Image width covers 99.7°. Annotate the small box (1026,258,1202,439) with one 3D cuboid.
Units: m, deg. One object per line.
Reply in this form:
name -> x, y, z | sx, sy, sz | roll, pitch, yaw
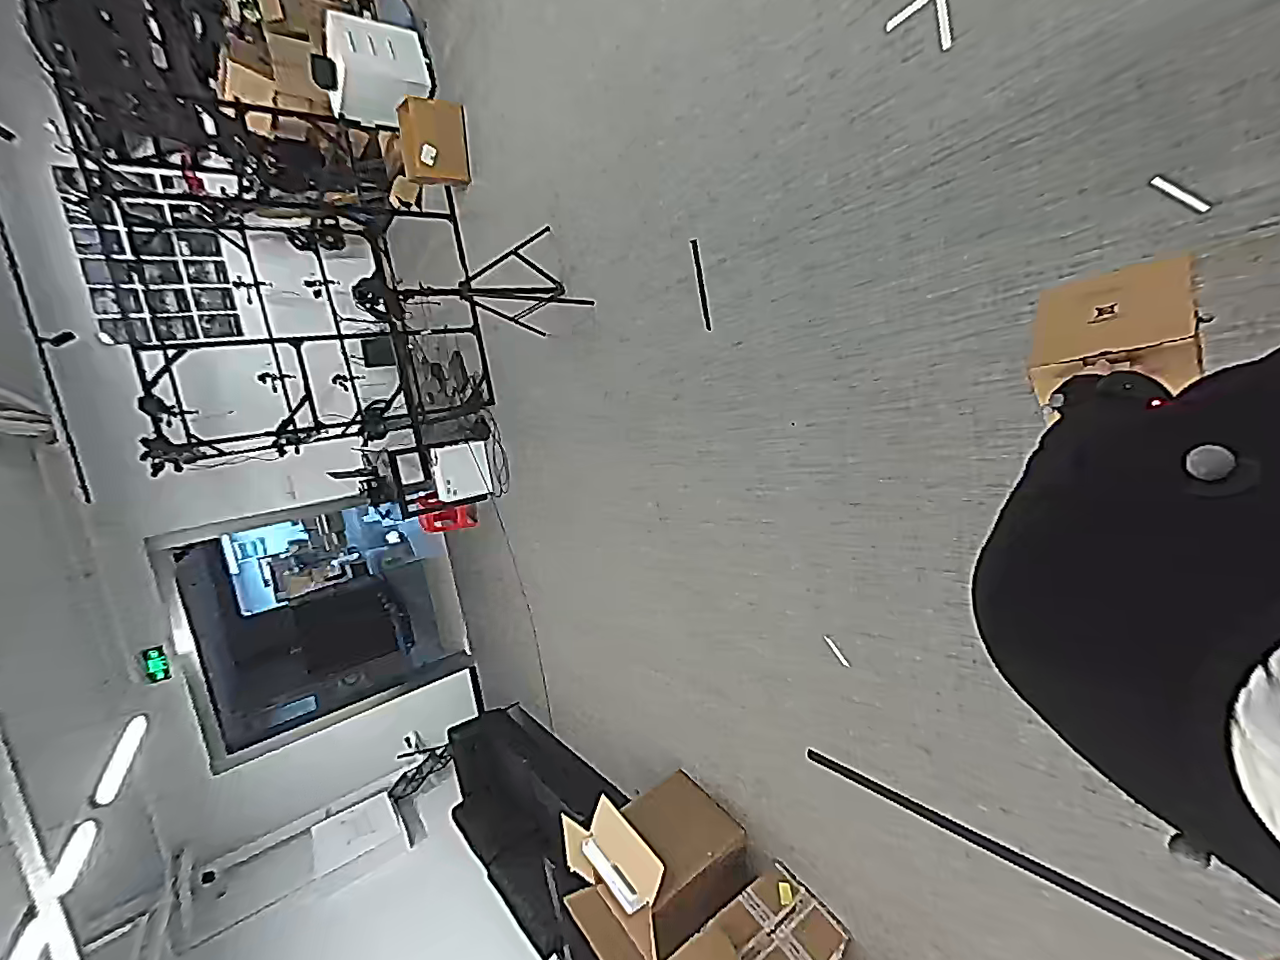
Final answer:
small box -> 0.677, -0.172, 0.773 | 0.168, 0.179, 0.176 | -5, 135, 46
